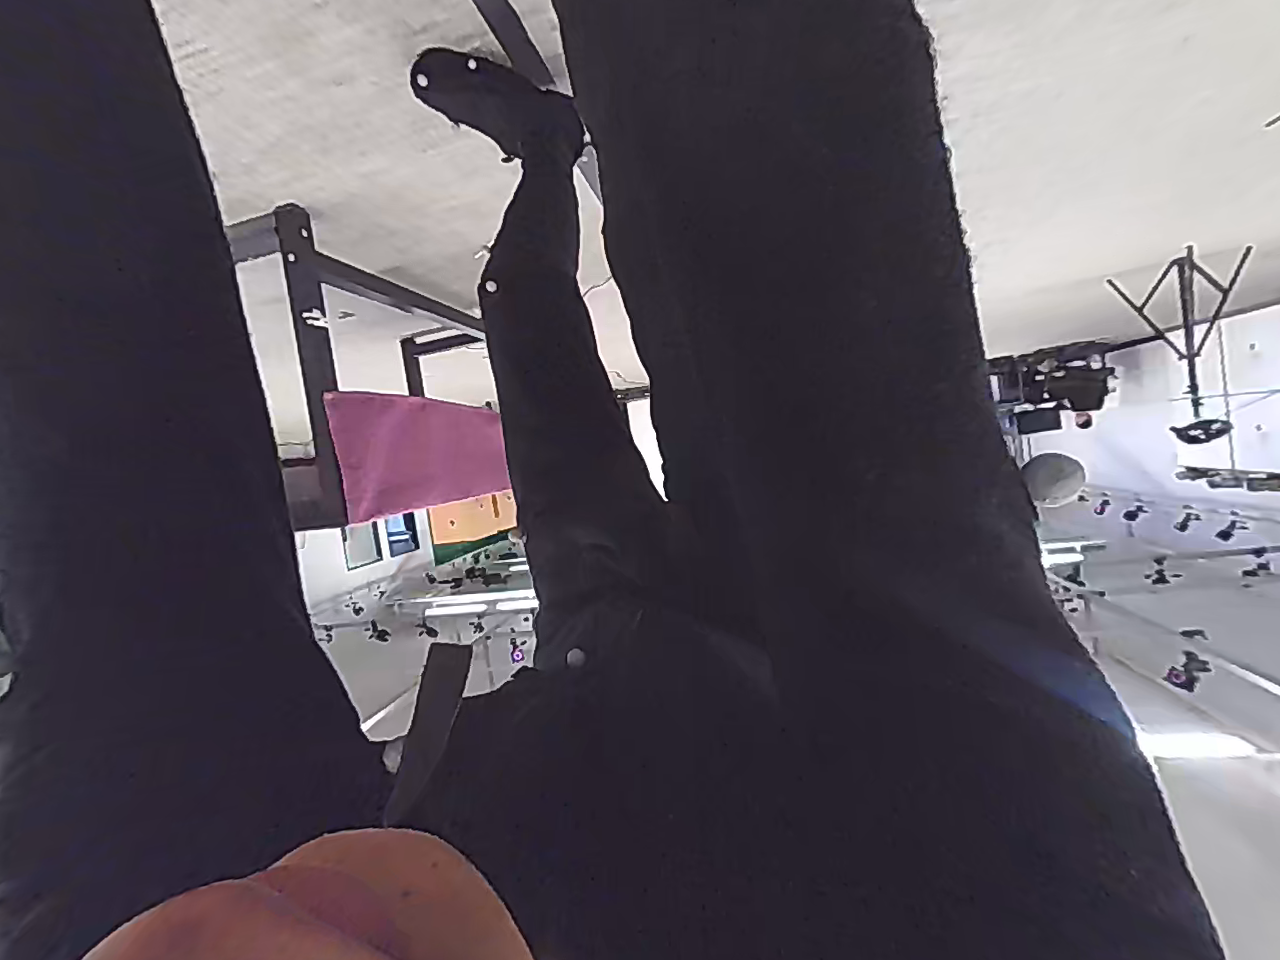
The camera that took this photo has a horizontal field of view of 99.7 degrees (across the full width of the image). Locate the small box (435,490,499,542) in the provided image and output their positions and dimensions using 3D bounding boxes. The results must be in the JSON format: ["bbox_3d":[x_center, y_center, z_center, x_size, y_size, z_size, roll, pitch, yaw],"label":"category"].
[{"bbox_3d":[-0.669,0.135,2.081,0.179,0.176,0.168,-8,-177,17],"label":"small box"}]
